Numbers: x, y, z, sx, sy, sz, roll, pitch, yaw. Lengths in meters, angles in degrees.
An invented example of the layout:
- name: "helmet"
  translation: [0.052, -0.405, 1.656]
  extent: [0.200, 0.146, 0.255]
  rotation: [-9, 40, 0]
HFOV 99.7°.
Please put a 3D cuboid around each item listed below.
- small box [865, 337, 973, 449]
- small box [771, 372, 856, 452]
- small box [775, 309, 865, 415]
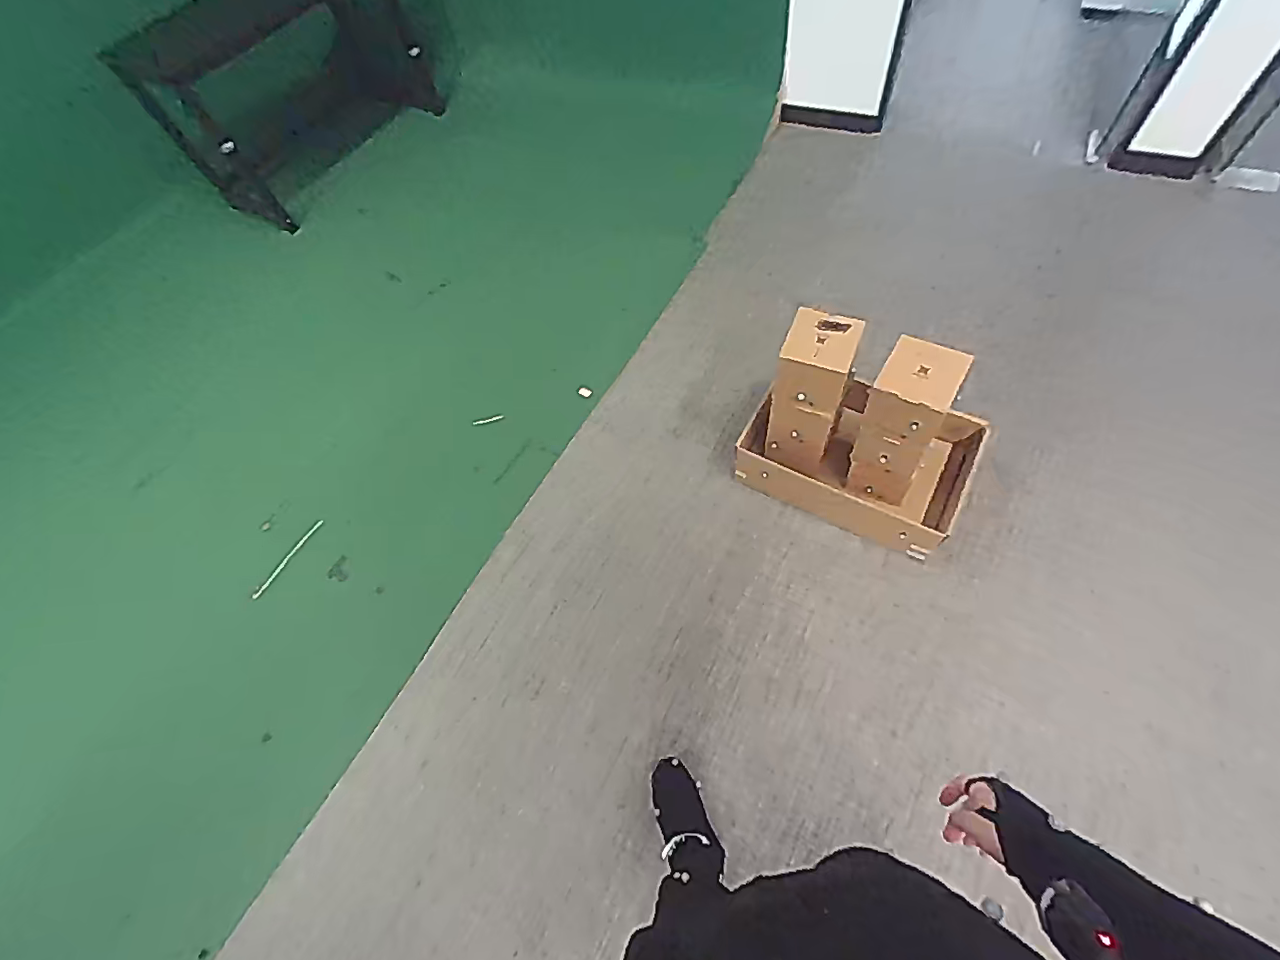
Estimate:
- name: "small box"
  translation: [0.658, -0.202, 1.297]
  extent: [0.168, 0.176, 0.179]
  rotation: [27, 69, 23]
- name: "small box"
  translation: [0.477, -0.210, 1.514]
  extent: [0.168, 0.176, 0.179]
  rotation: [25, 67, 20]
- name: "small box"
  translation: [0.451, -0.297, 1.376]
  extent: [0.168, 0.176, 0.179]
  rotation: [19, 66, 17]
